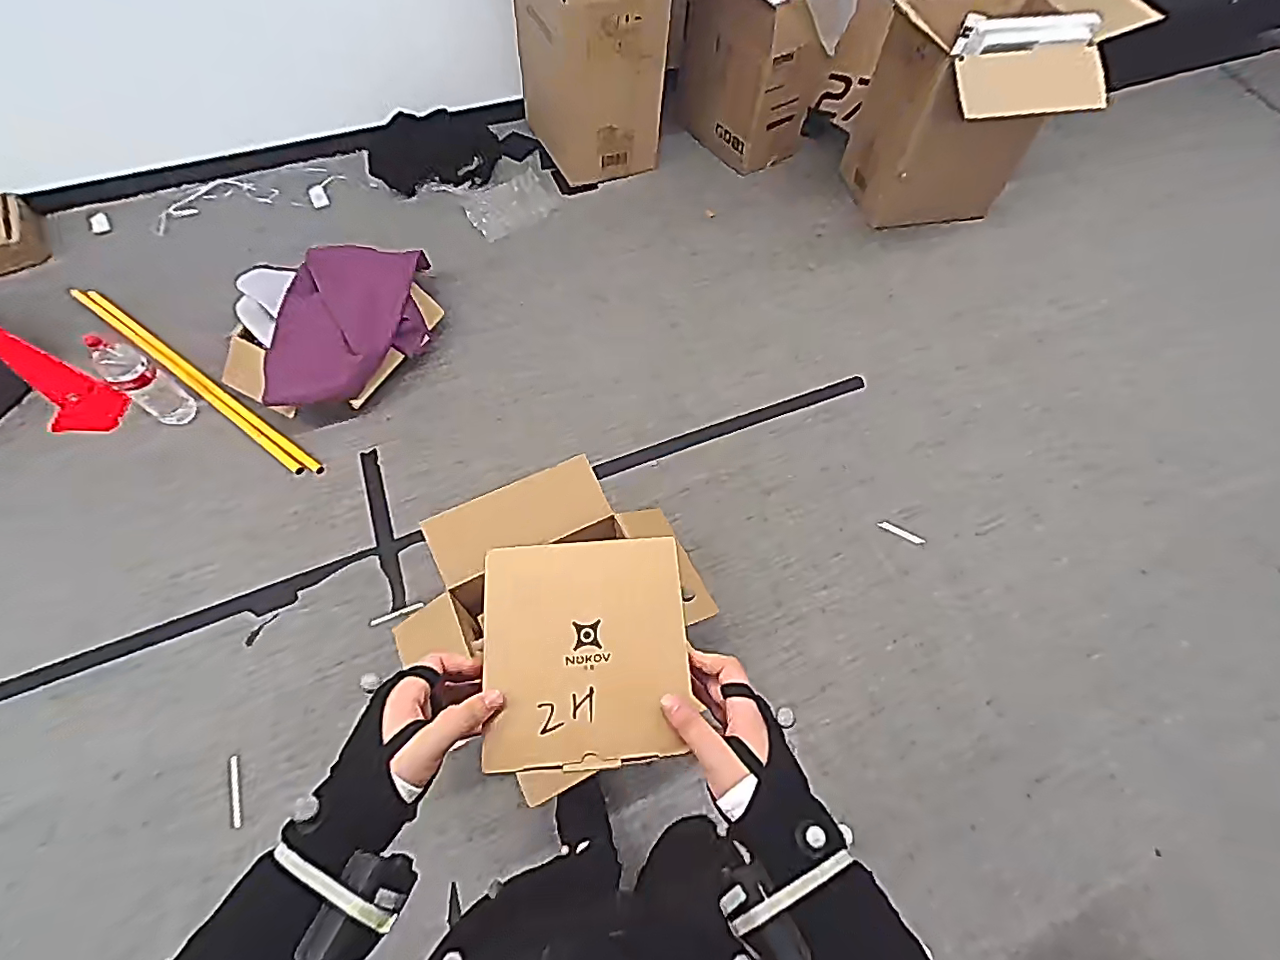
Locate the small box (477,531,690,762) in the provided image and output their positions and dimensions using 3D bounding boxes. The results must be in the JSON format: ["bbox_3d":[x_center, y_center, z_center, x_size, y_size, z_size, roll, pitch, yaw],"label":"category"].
[{"bbox_3d":[-0.052,0.158,0.517,0.168,0.176,0.179,-3,70,-4],"label":"small box"}]
